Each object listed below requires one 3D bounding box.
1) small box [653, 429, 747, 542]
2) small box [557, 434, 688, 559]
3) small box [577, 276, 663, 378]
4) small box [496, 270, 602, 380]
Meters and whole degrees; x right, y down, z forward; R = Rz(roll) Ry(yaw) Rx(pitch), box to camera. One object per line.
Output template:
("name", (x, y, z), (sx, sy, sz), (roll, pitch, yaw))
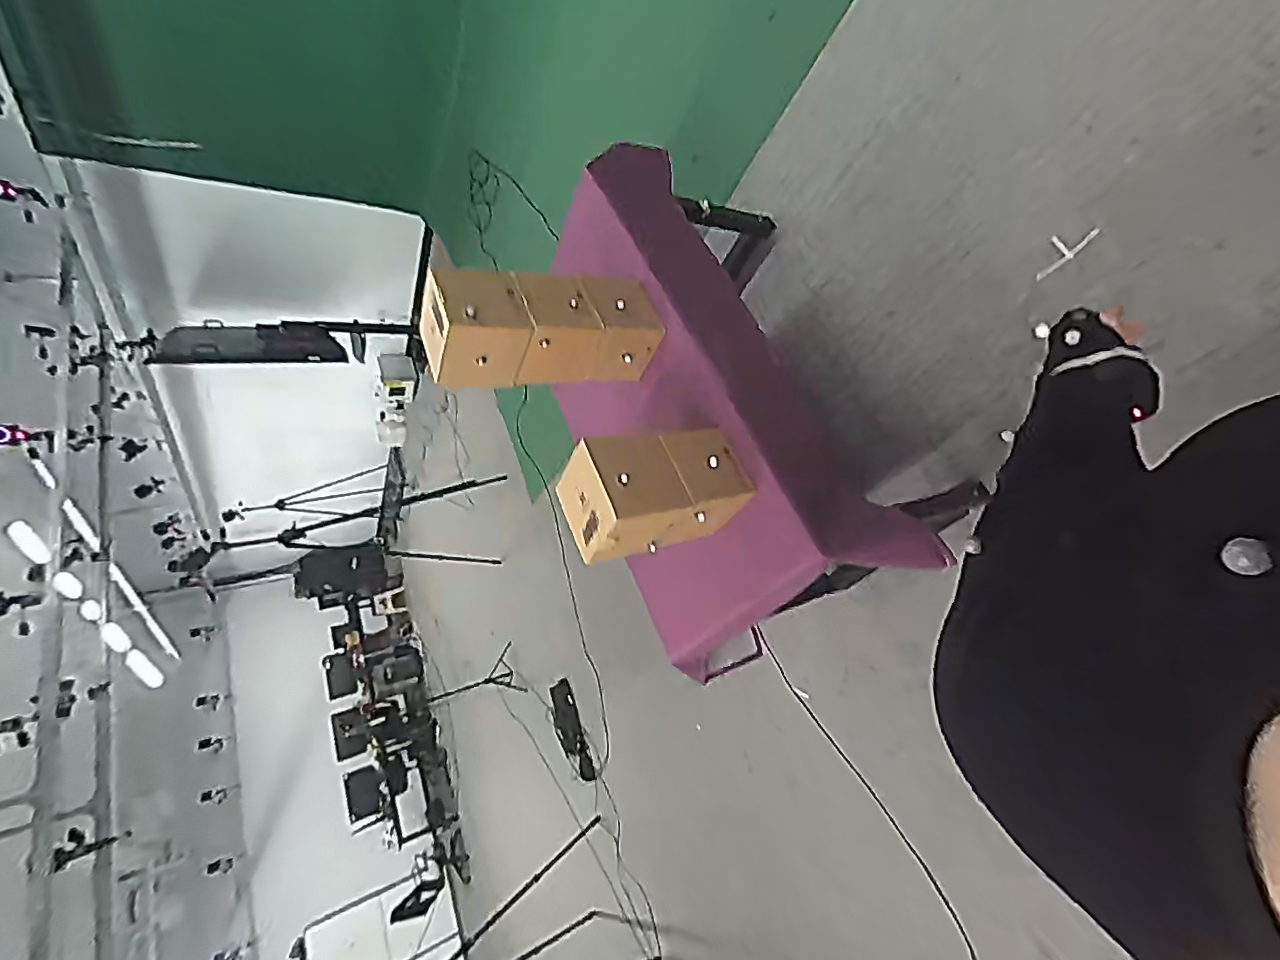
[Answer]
("small box", (0.100, 0.007, 1.130), (0.179, 0.176, 0.168), (-53, 53, 47))
("small box", (-0.034, 0.026, 1.037), (0.168, 0.176, 0.179), (-53, 53, 46))
("small box", (-0.071, -0.367, 1.306), (0.168, 0.176, 0.179), (-54, 54, 45))
("small box", (-0.206, -0.342, 1.219), (0.179, 0.176, 0.168), (-52, 54, 46))
